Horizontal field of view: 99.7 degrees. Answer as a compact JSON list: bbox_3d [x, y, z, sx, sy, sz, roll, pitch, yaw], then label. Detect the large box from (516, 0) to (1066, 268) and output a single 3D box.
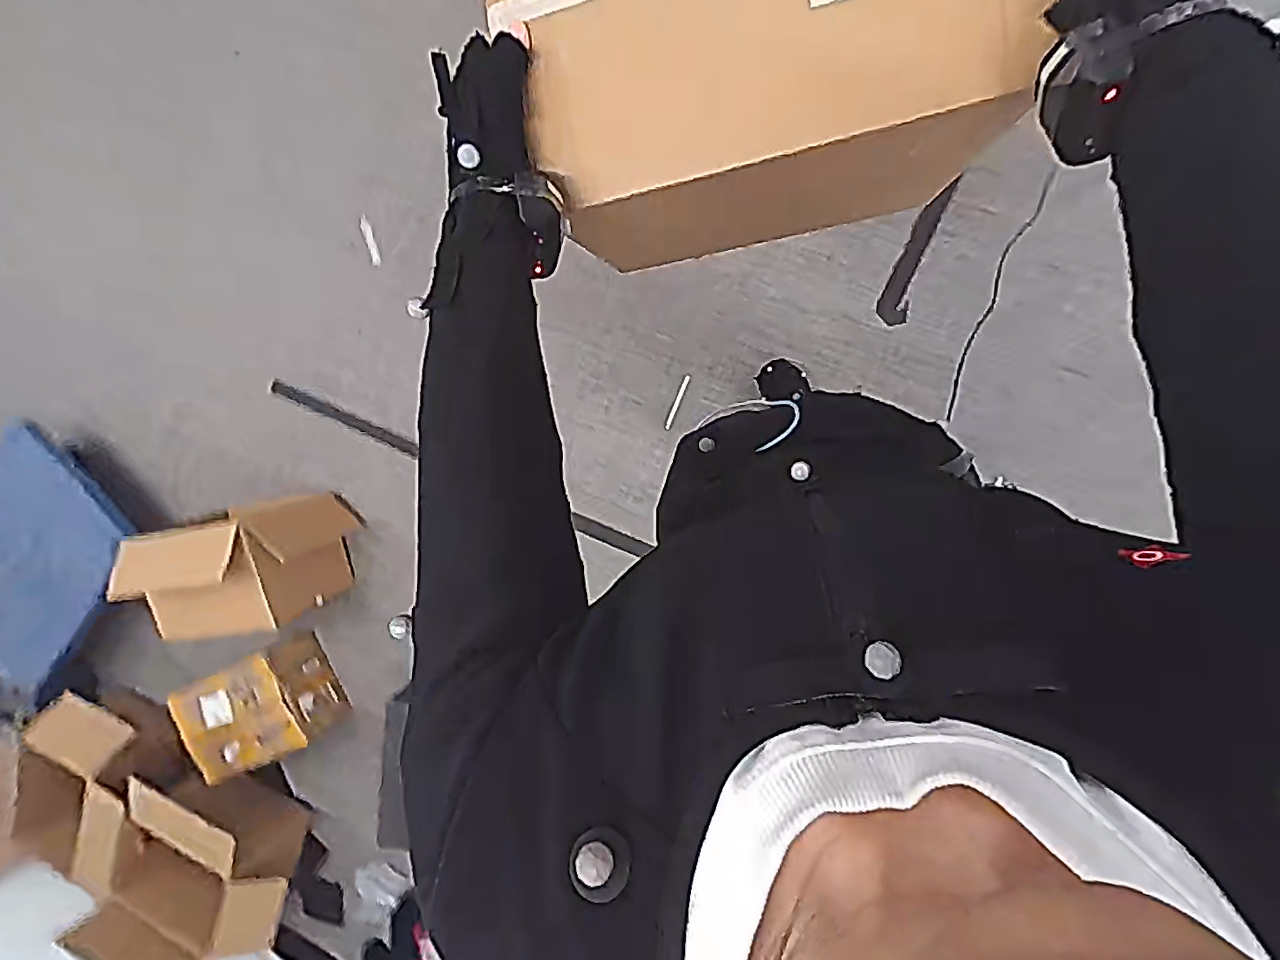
[{"bbox_3d":[0.115,-0.441,0.550,0.408,0.320,0.320,-7,101,12],"label":"large box"}]
